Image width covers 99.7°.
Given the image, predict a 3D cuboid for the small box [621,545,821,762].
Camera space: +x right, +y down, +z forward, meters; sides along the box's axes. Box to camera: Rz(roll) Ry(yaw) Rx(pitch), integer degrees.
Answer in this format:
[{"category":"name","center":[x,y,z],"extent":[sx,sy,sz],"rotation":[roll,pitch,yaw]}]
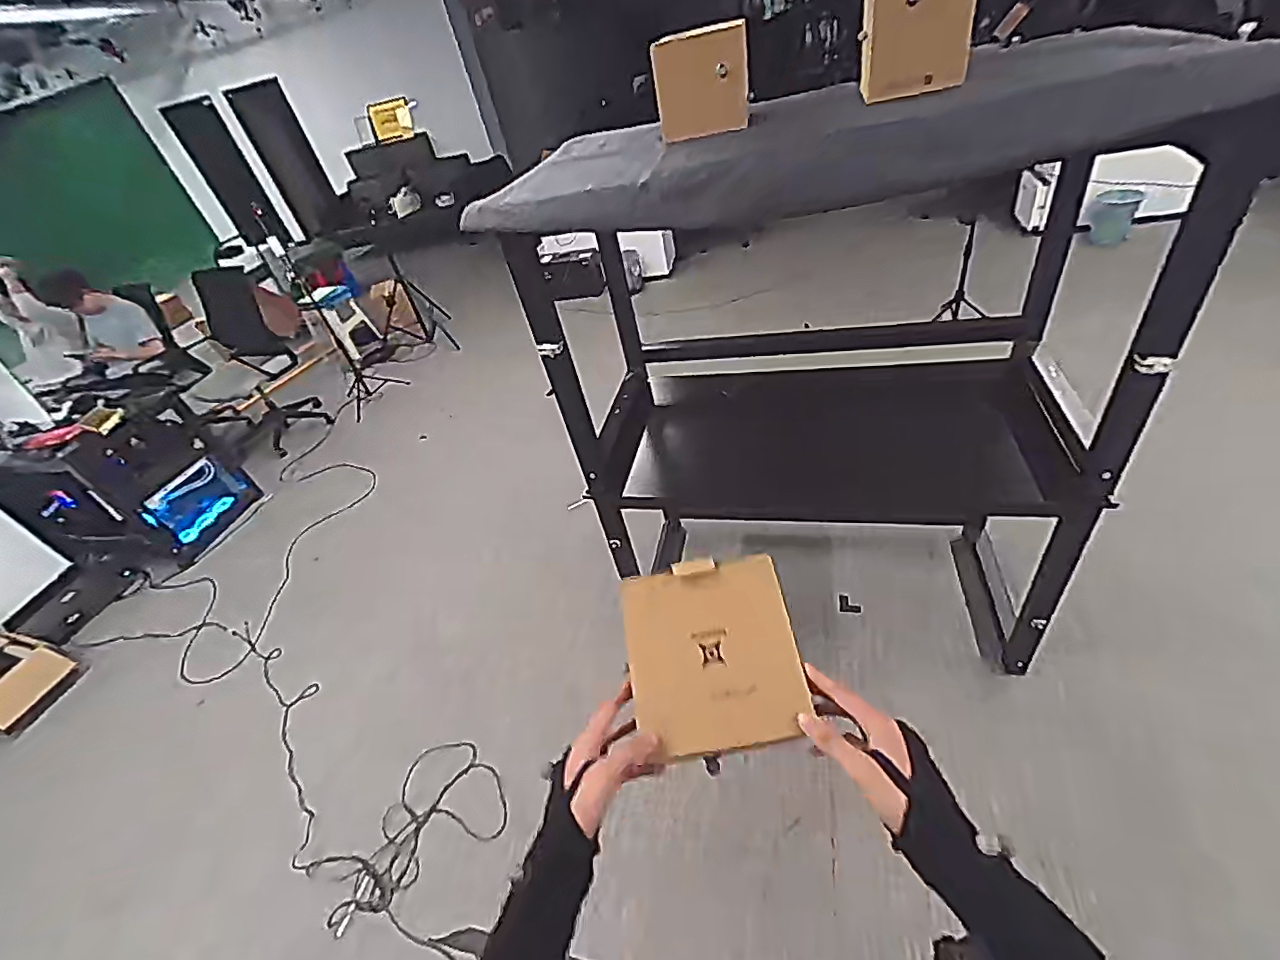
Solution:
[{"category":"small box","center":[0.075,0.193,0.583],"extent":[0.168,0.176,0.179],"rotation":[-9,59,1]}]

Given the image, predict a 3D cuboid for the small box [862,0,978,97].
[{"category":"small box","center":[0.513,-0.836,1.009],"extent":[0.168,0.176,0.179],"rotation":[-1,41,17]}]
